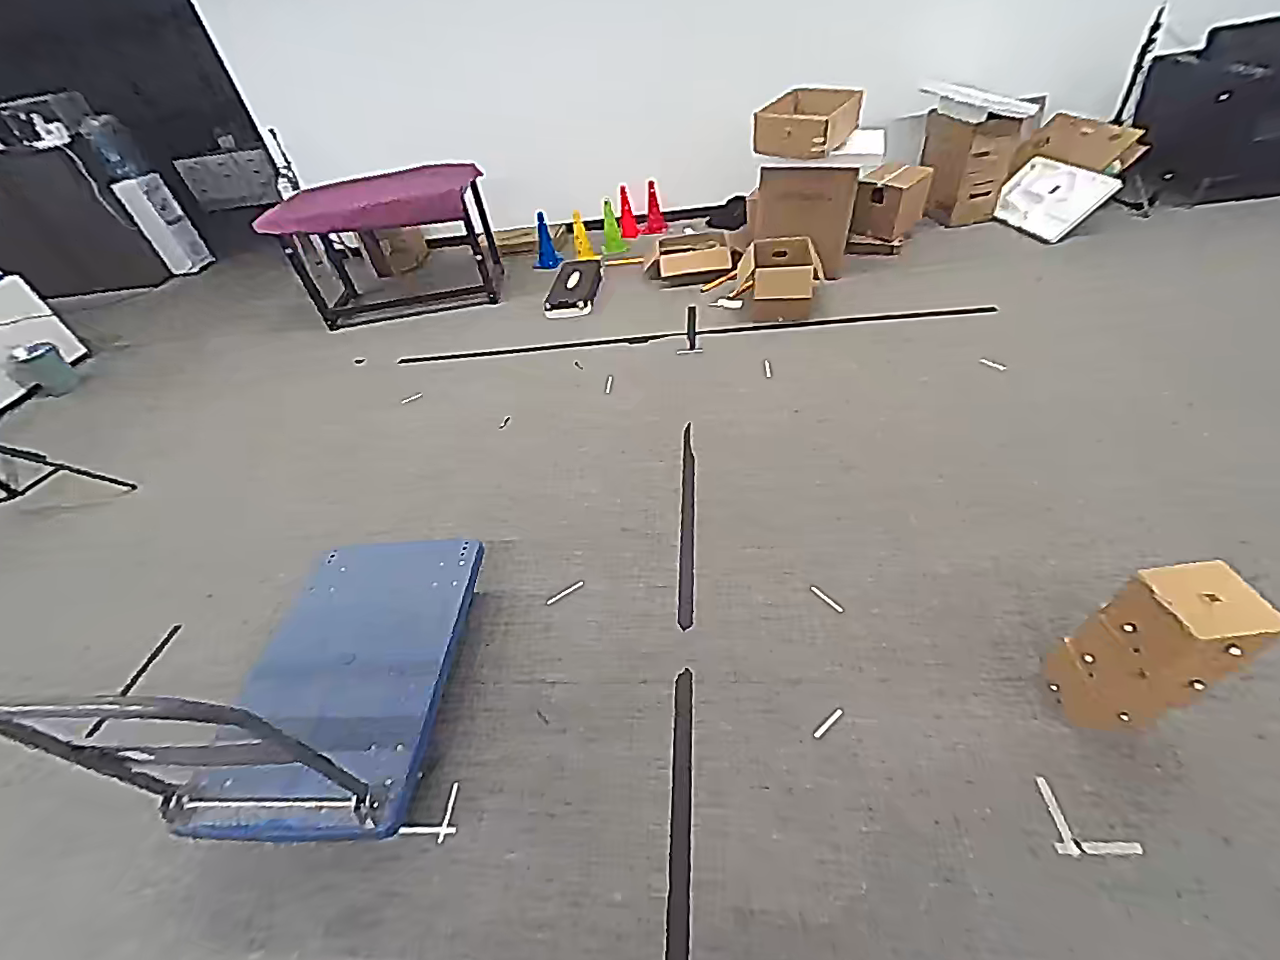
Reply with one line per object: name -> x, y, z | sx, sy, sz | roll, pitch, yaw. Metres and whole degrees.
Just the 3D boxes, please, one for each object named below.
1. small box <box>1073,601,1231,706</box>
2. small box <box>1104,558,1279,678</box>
small box -> 1.142, 0.394, 1.225 | 0.179, 0.176, 0.168 | -1, 42, 11
small box -> 1.121, 0.285, 1.106 | 0.179, 0.176, 0.168 | -9, 42, 2
